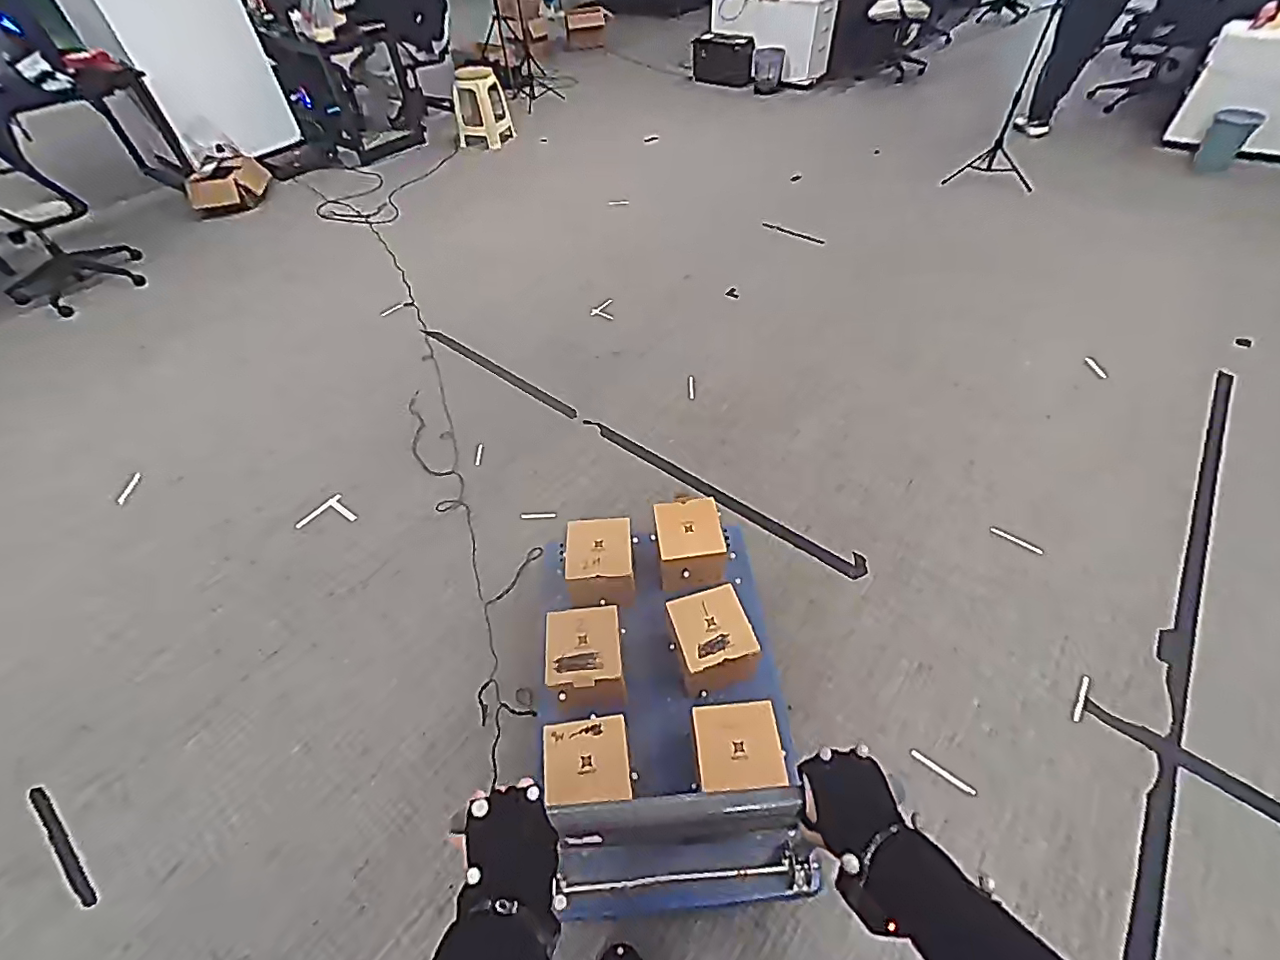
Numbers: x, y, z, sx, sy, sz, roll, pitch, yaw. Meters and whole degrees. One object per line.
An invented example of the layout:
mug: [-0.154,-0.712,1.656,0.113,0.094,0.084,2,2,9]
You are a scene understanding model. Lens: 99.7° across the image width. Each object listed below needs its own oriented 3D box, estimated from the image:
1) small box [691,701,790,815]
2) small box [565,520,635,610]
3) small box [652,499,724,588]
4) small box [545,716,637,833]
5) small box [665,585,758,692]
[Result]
small box: [0.198,0.578,1.117,0.168,0.176,0.179,-5,49,-1]
small box: [-0.102,0.225,1.428,0.168,0.176,0.179,-4,51,1]
small box: [0.127,0.178,1.456,0.168,0.176,0.179,-8,50,-2]
small box: [-0.099,0.608,1.107,0.168,0.176,0.179,-7,50,-4]
small box: [0.164,0.383,1.281,0.168,0.176,0.179,-14,50,-8]
